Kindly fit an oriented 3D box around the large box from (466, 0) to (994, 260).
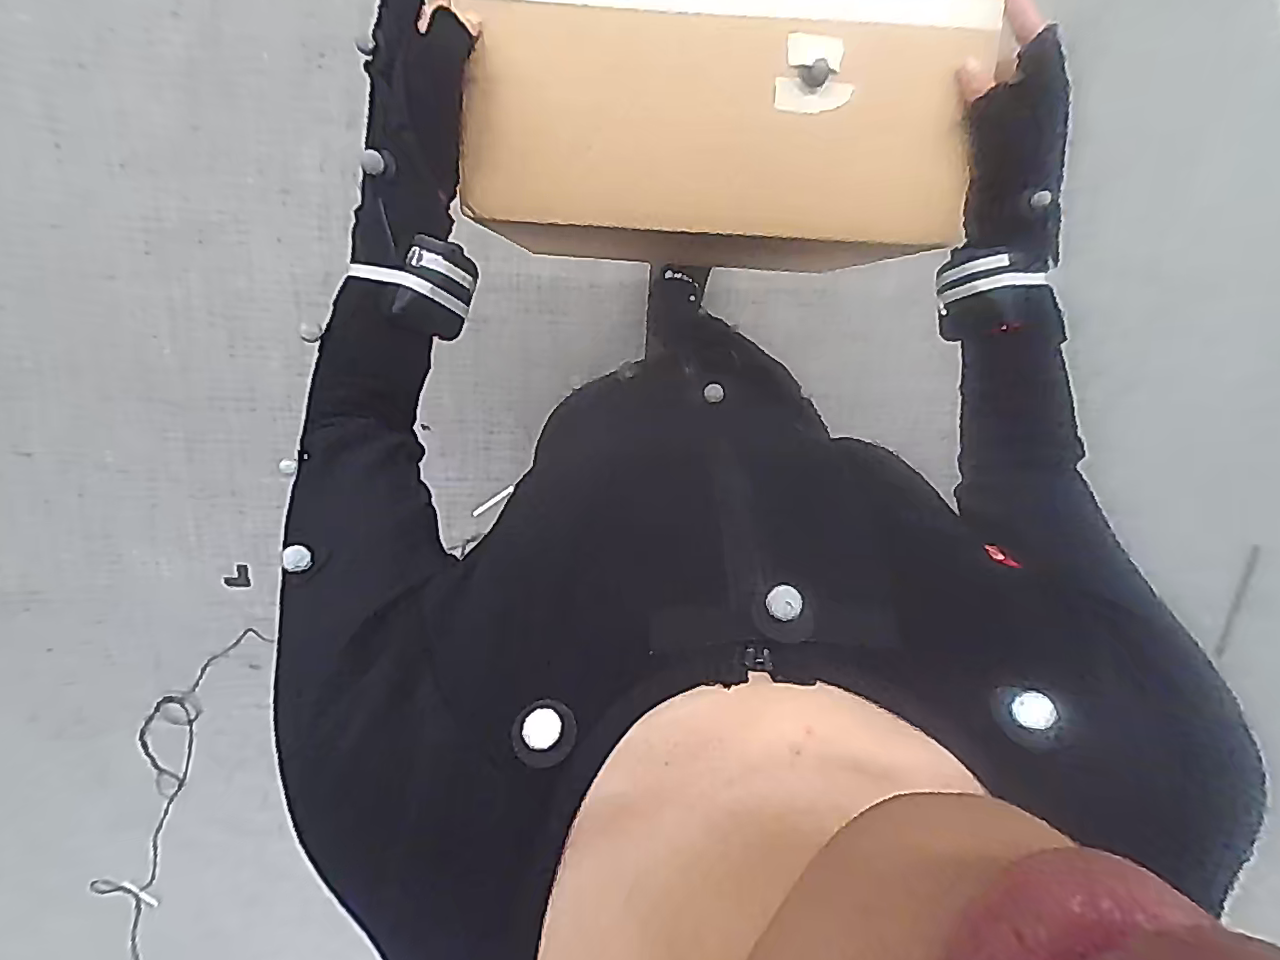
[{"bbox_3d":[0.063,-0.405,0.543,0.408,0.320,0.320,2,108,-3],"label":"large box"}]
